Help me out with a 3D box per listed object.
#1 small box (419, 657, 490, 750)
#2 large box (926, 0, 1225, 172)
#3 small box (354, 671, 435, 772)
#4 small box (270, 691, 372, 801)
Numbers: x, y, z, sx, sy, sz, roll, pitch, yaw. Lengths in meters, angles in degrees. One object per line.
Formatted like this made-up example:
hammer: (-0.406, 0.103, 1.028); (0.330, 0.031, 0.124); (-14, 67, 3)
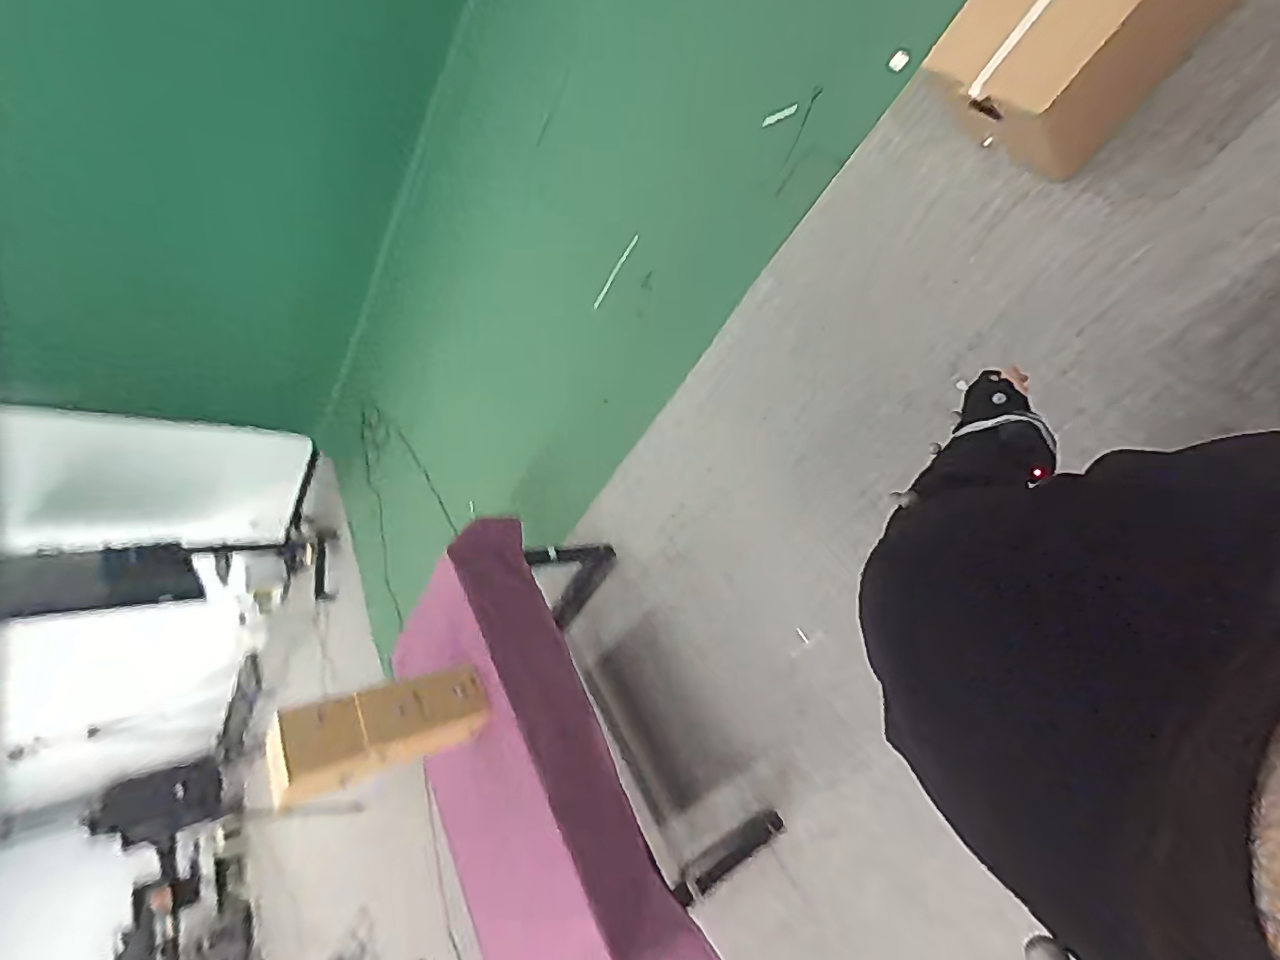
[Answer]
small box: (-0.554, 0.638, 1.563); (0.179, 0.176, 0.168); (-53, 55, 29)
large box: (0.901, -0.951, 1.119); (0.408, 0.320, 0.320); (-52, 55, 28)
small box: (-0.668, 0.638, 1.443); (0.179, 0.176, 0.168); (-54, 54, 29)
small box: (-0.783, 0.641, 1.327); (0.179, 0.176, 0.168); (55, 125, 30)
